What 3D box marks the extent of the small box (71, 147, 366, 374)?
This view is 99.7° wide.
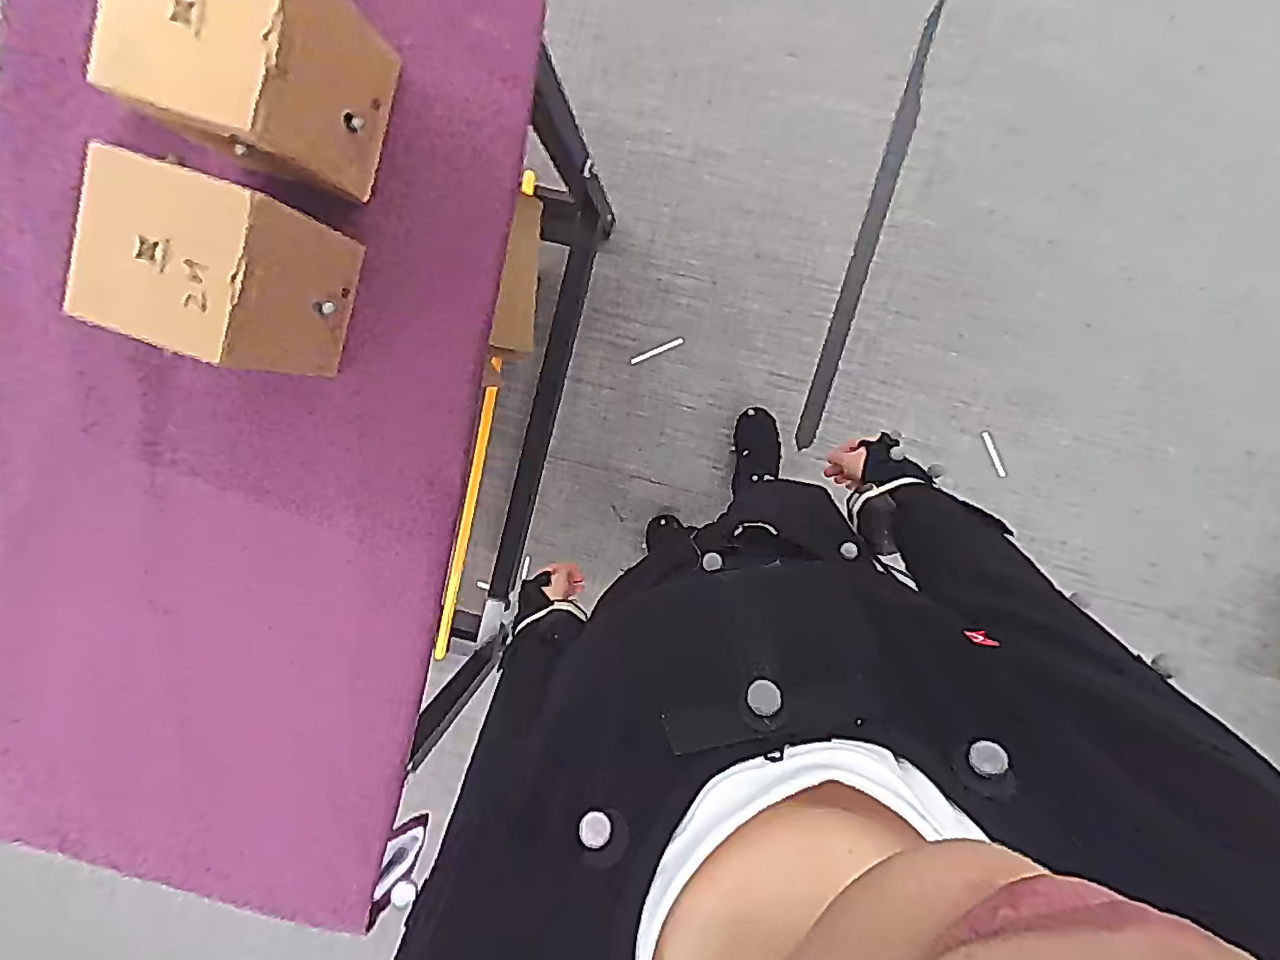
[{"bbox_3d":[-0.445,-0.221,0.594,0.179,0.176,0.168,19,98,4],"label":"small box"}]

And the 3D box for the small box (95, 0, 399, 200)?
[{"bbox_3d":[-0.392,-0.423,0.565,0.179,0.176,0.168,19,99,4],"label":"small box"}]
